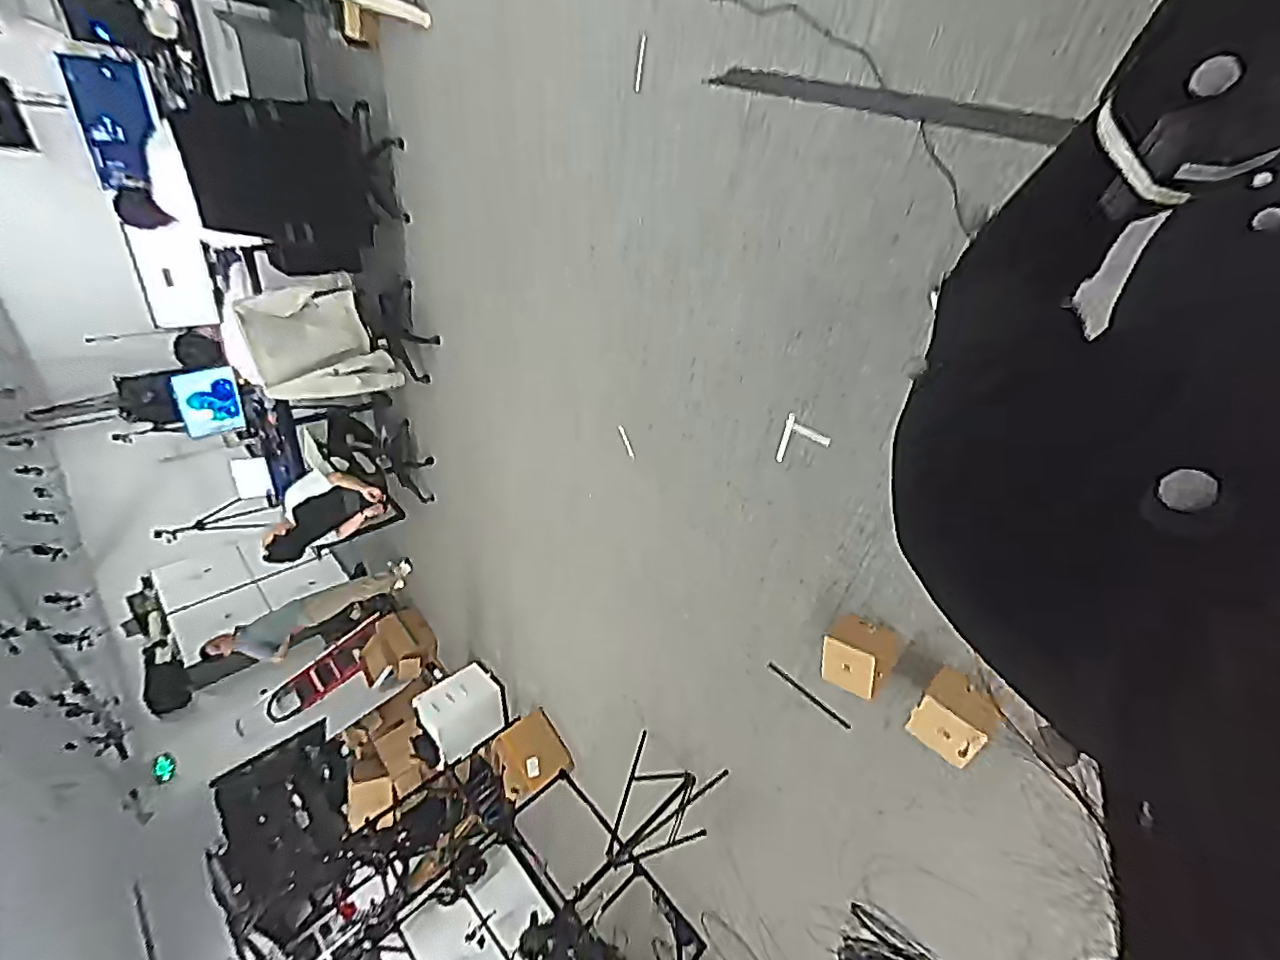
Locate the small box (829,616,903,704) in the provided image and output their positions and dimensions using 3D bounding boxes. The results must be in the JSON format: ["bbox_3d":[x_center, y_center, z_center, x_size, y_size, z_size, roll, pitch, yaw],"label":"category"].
[{"bbox_3d":[0.727,0.572,1.737,0.168,0.176,0.179,16,119,42],"label":"small box"}]

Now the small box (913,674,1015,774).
[{"bbox_3d":[0.935,0.692,1.563,0.179,0.176,0.168,35,131,33],"label":"small box"}]
